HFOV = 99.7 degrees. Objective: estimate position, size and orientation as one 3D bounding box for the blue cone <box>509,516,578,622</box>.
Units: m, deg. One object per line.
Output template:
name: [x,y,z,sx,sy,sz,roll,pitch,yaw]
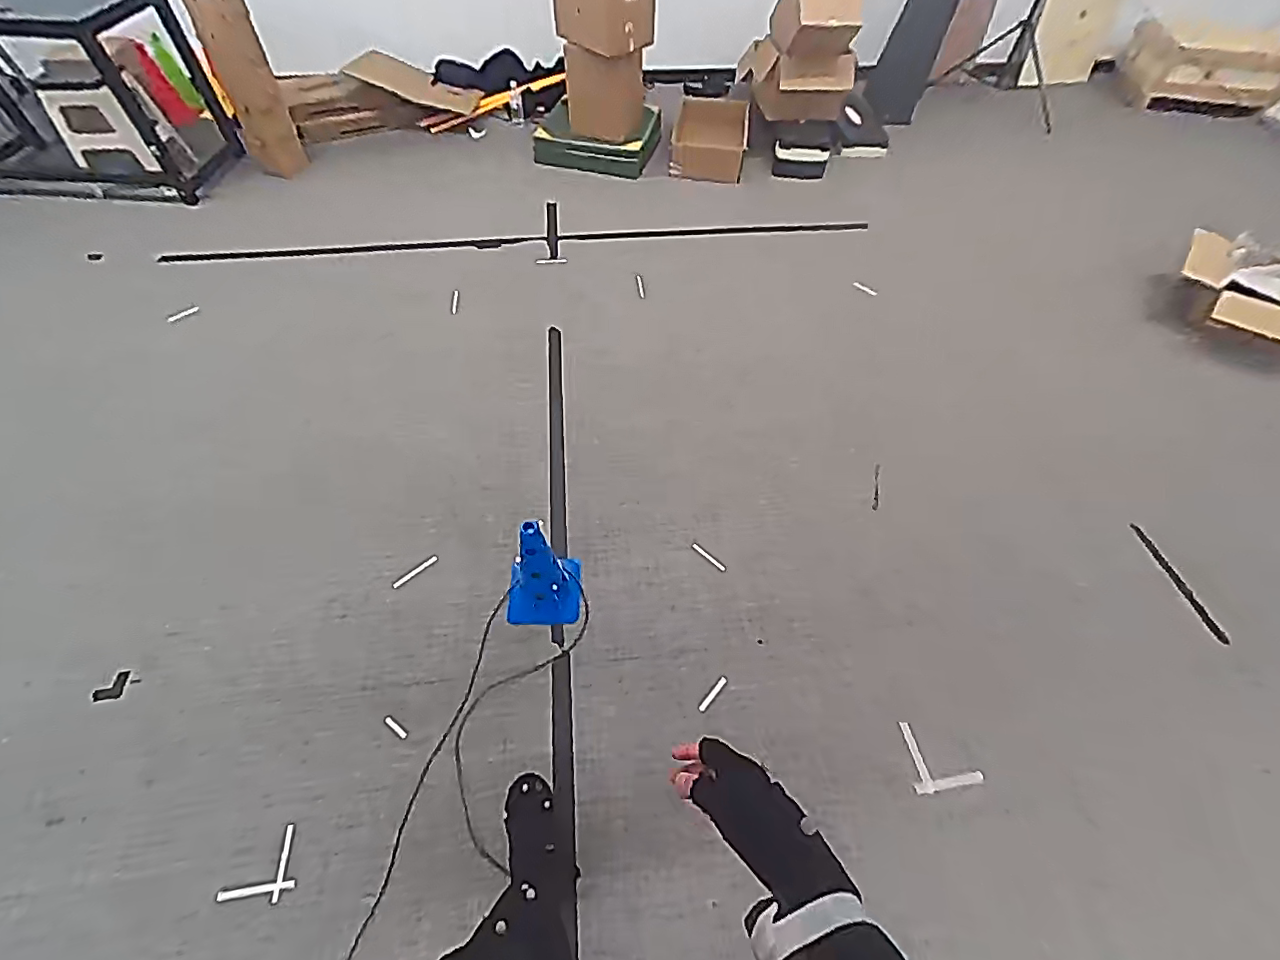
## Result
blue cone: [-0.267,0.212,1.385,0.193,0.380,0.192,-2,55,-3]
